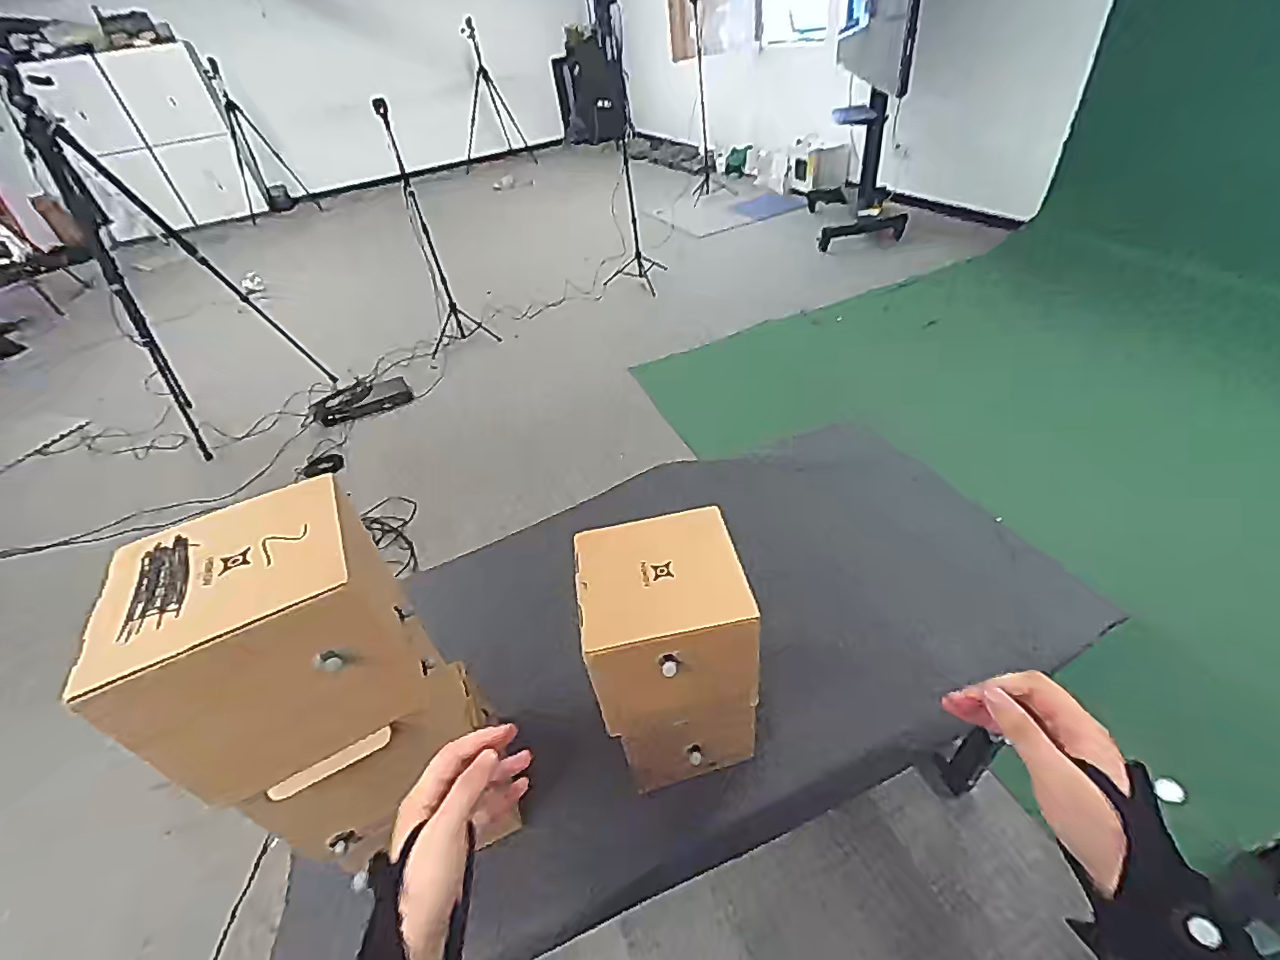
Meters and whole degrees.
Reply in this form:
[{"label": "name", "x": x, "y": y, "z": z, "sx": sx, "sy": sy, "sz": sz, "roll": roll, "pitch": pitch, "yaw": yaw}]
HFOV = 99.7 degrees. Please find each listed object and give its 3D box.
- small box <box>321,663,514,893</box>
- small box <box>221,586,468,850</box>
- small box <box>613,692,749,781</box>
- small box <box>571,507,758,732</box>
[{"label": "small box", "x": -0.273, "y": 0.376, "z": 0.688, "sx": 0.179, "sy": 0.176, "sz": 0.168, "roll": -23, "pitch": 40, "yaw": -13}, {"label": "small box", "x": -0.303, "y": 0.256, "z": 0.579, "sx": 0.168, "sy": 0.176, "sz": 0.179, "roll": -24, "pitch": 40, "yaw": -17}, {"label": "small box", "x": 0.042, "y": 0.280, "z": 0.733, "sx": 0.168, "sy": 0.176, "sz": 0.179, "roll": -15, "pitch": 40, "yaw": -6}, {"label": "small box", "x": 0.027, "y": 0.160, "z": 0.622, "sx": 0.179, "sy": 0.176, "sz": 0.168, "roll": -13, "pitch": 39, "yaw": -1}]
